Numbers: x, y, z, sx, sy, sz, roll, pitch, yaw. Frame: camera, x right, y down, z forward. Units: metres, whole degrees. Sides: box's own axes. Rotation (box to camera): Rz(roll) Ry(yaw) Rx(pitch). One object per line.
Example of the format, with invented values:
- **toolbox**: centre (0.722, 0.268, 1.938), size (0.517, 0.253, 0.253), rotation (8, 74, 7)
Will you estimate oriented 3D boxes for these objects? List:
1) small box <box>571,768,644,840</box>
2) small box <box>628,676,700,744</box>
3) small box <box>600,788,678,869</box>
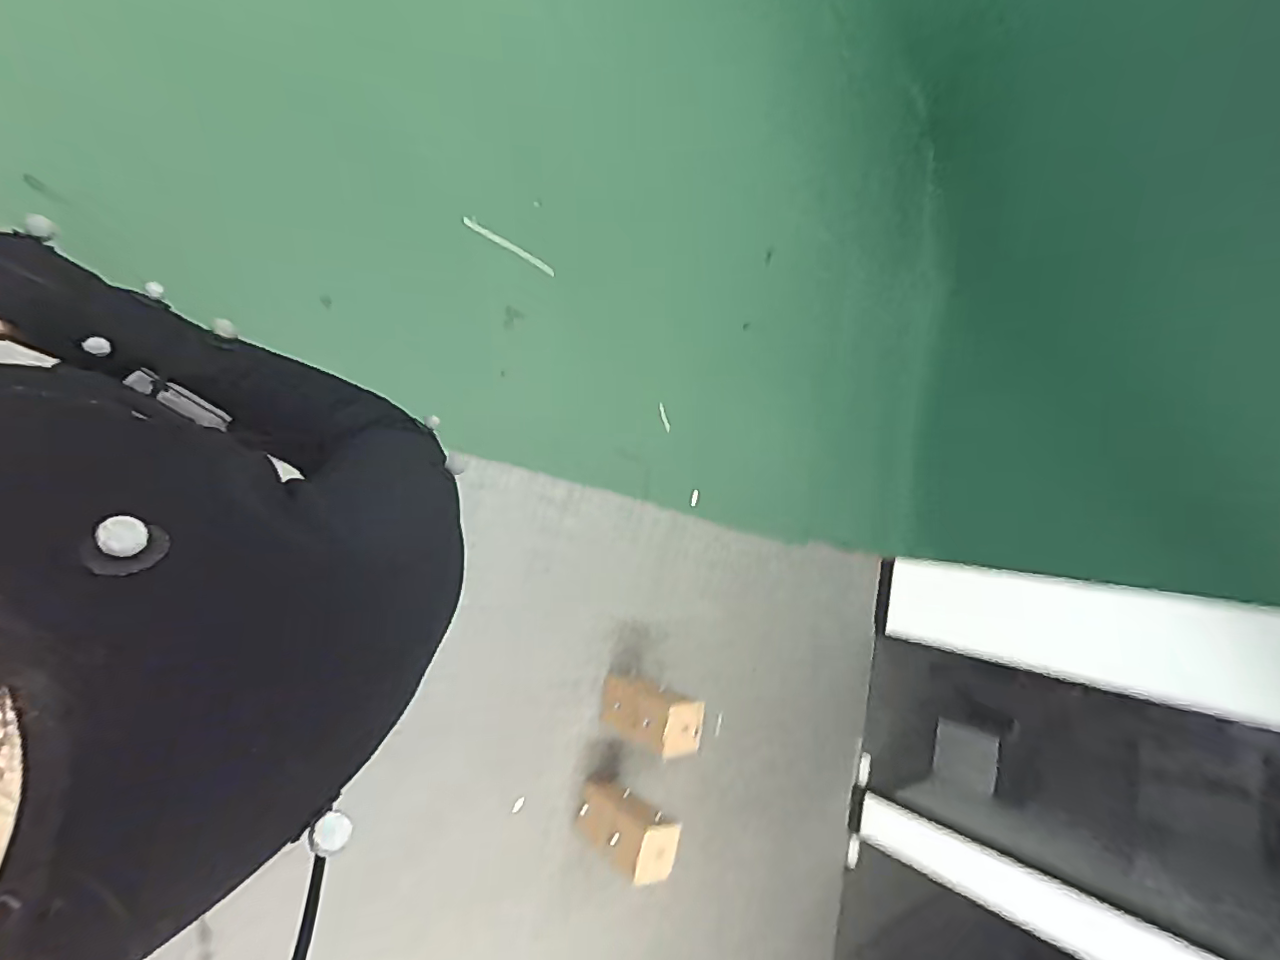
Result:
- **small box**: centre (-0.116, 1.149, 1.935), size (0.179, 0.176, 0.168), rotation (24, 76, -40)
- **small box**: centre (0.080, 0.786, 1.868), size (0.179, 0.176, 0.168), rotation (13, 83, -42)
- **small box**: centre (-0.003, 1.160, 1.815), size (0.179, 0.176, 0.168), rotation (22, 77, -41)
